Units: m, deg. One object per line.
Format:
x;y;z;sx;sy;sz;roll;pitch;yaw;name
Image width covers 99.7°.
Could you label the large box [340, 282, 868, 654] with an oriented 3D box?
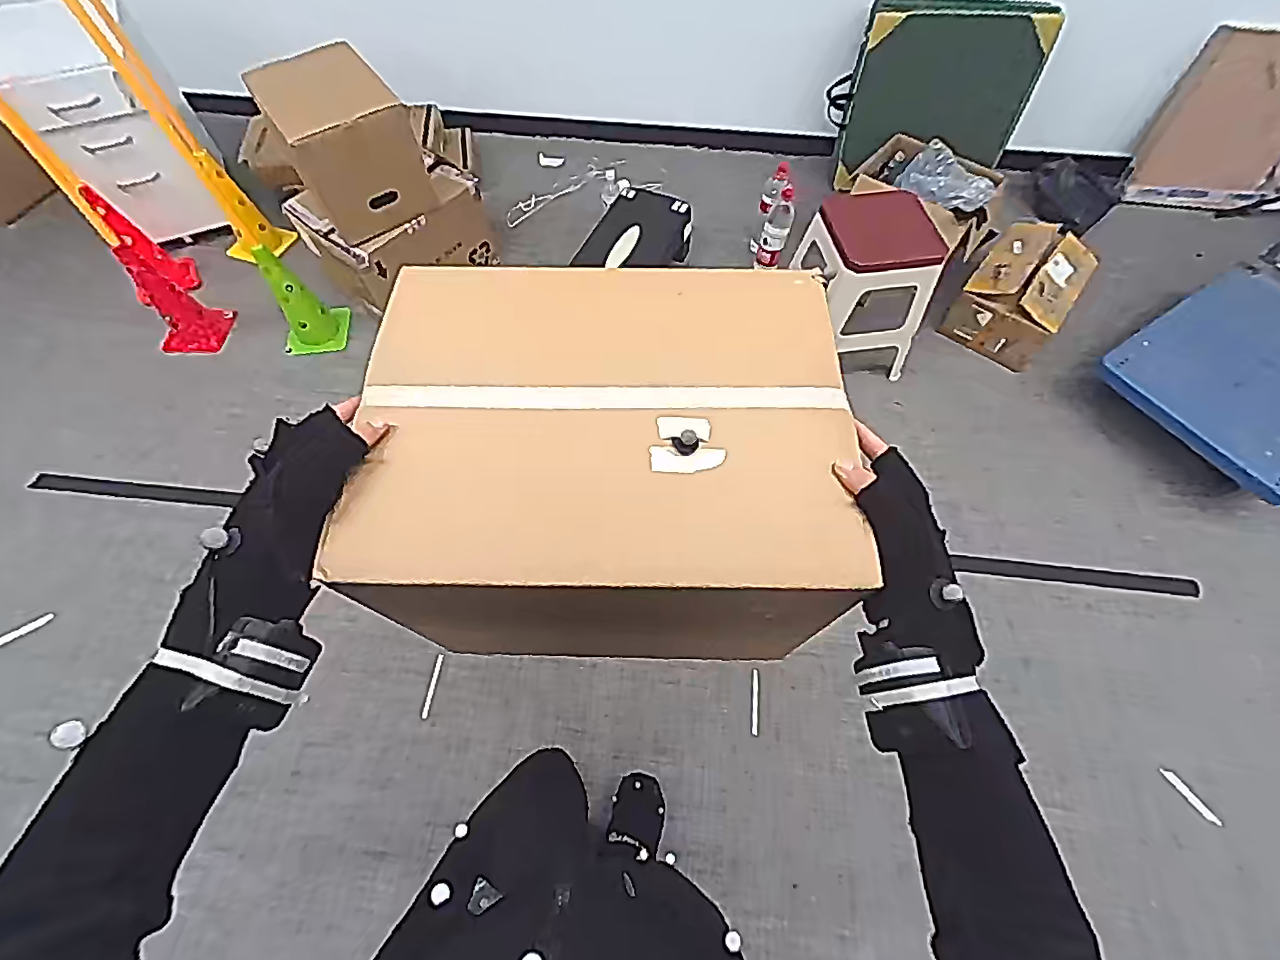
-0.029;0.008;0.601;0.408;0.320;0.320;1;63;0;large box
